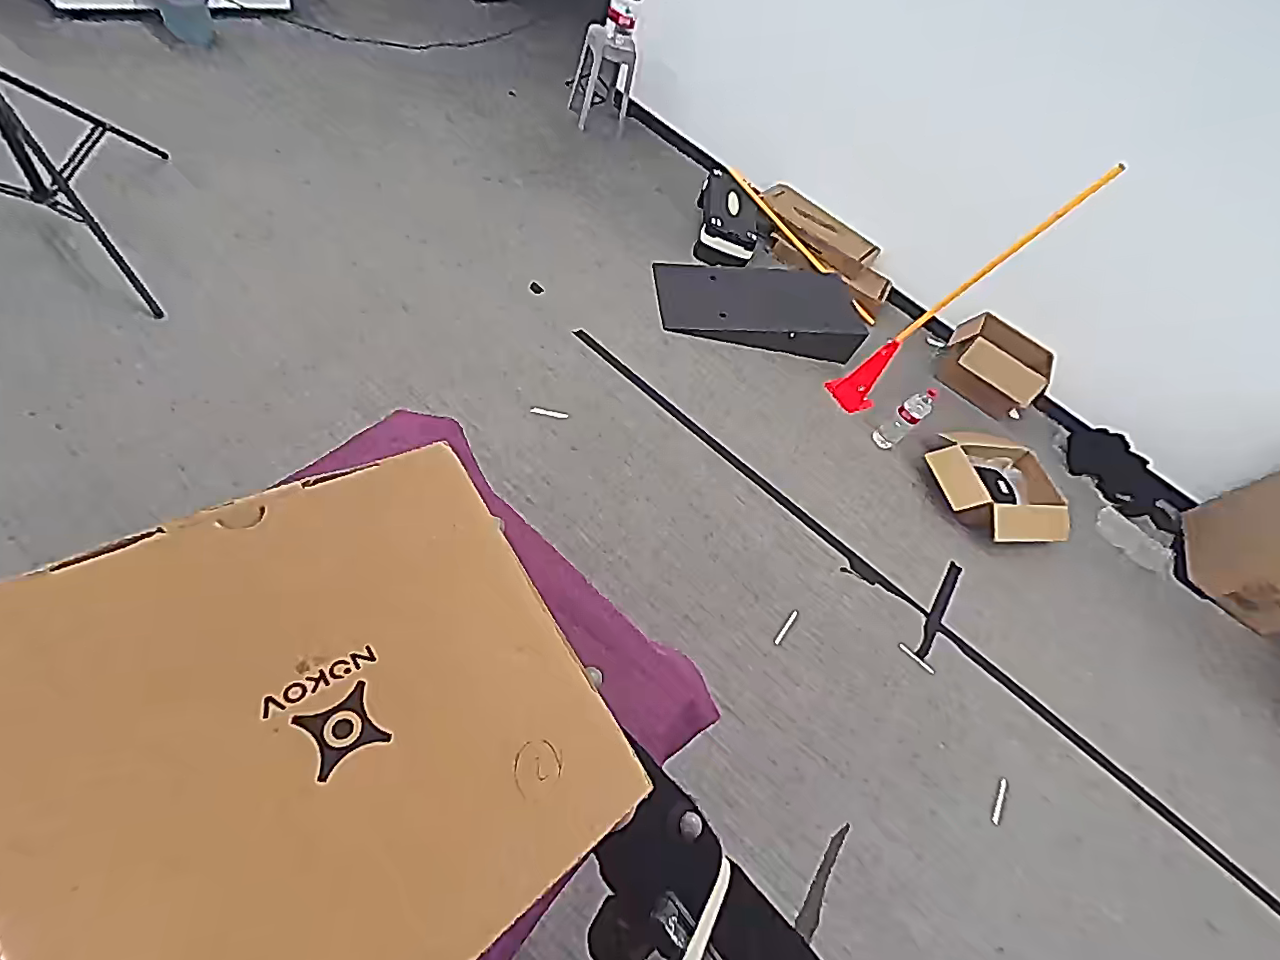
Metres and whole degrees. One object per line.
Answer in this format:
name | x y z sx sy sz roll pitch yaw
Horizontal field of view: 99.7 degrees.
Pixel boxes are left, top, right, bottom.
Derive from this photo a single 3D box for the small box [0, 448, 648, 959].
small box | -0.132 0.119 0.245 0.168 0.176 0.179 -25 73 -36
